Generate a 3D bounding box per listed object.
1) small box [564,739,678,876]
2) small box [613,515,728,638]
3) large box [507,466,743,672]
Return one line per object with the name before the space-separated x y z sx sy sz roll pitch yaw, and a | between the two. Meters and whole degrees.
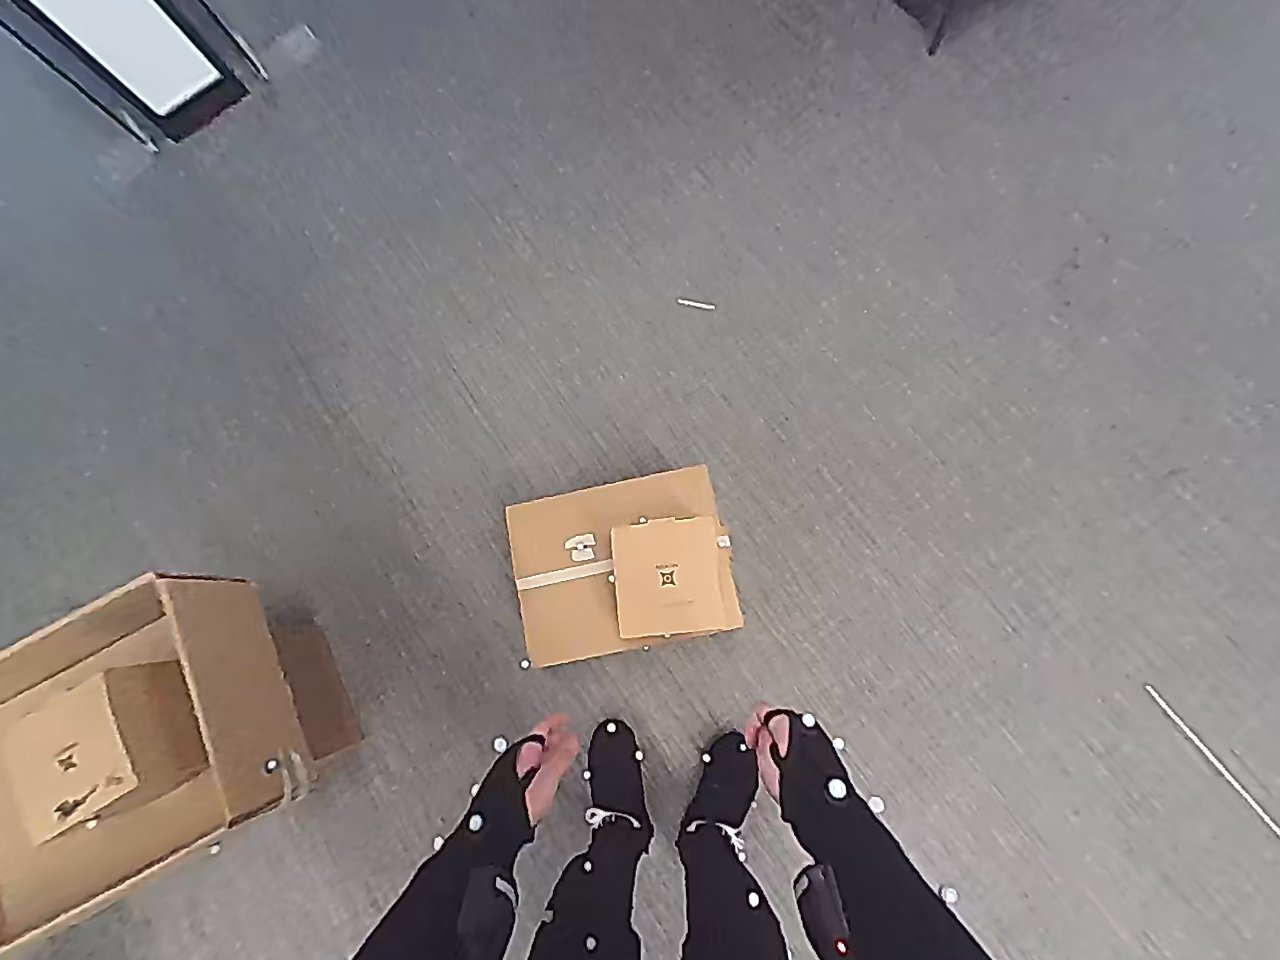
small box | -0.041 0.678 1.140 0.179 0.176 0.168 30 79 20
small box | 0.051 0.161 0.902 0.168 0.176 0.179 -6 80 5
large box | -0.020 0.189 1.154 0.408 0.320 0.320 -13 77 4
